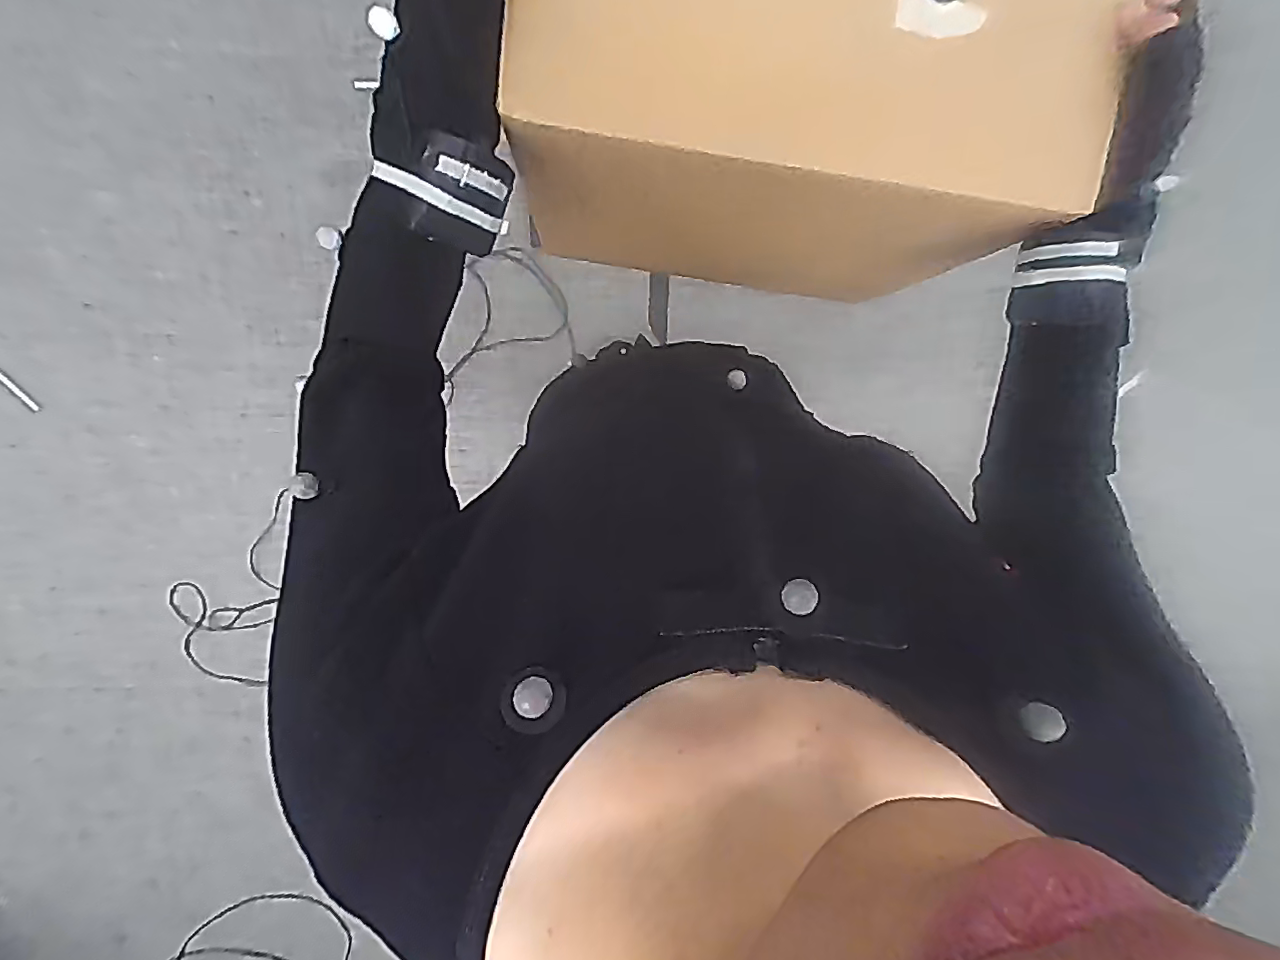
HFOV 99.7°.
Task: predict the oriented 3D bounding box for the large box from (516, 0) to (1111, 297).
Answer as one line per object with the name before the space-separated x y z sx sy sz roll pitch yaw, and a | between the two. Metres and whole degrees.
large box | 0.115 -0.382 0.501 0.408 0.320 0.320 6 96 -6
